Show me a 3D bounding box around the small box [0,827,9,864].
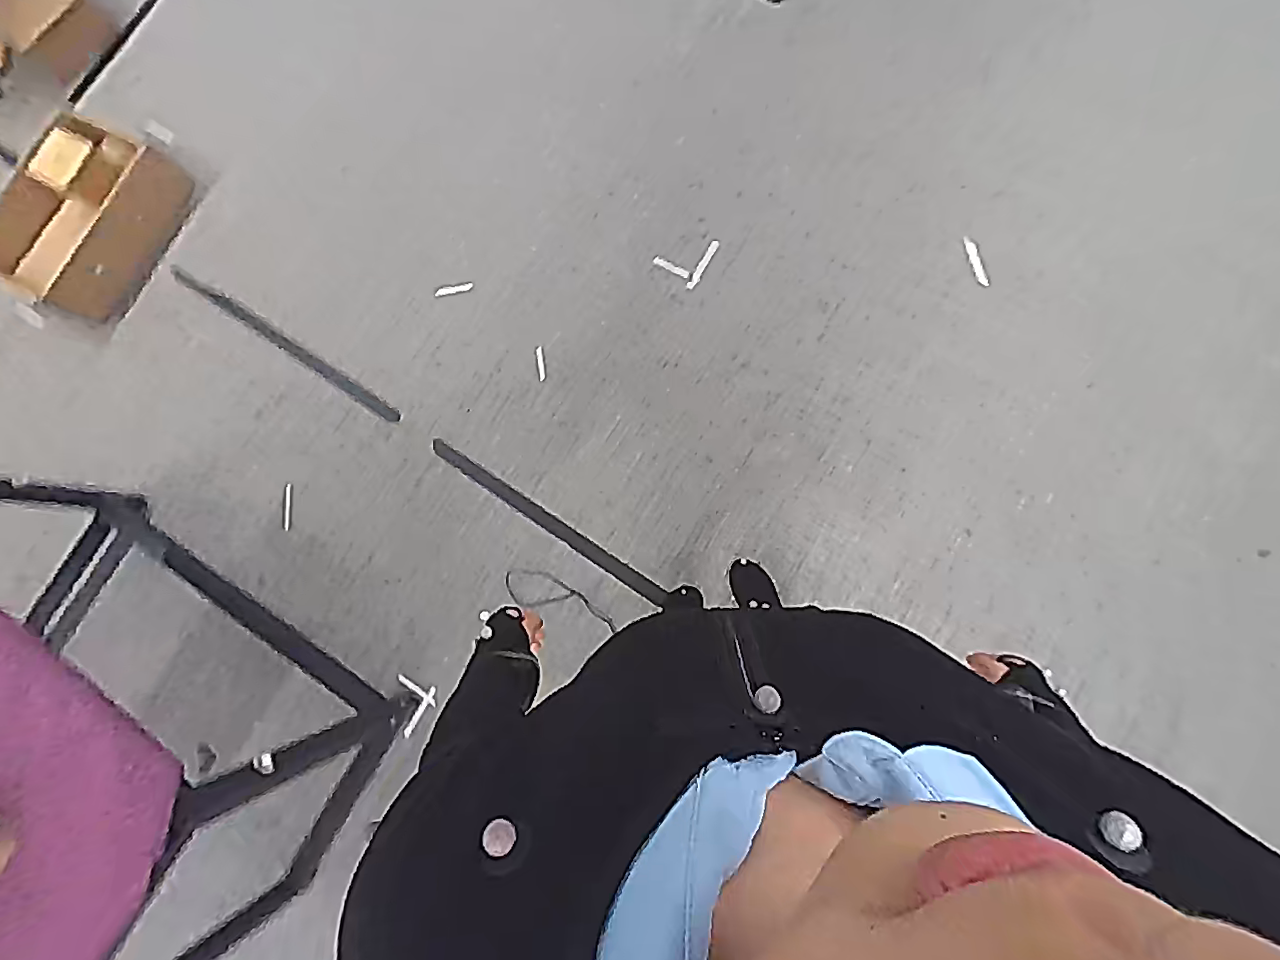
[{"bbox_3d":[-1.080,0.568,0.766,0.168,0.176,0.179,32,85,11],"label":"small box"}]

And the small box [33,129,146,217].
[{"bbox_3d":[-1.836,-1.022,1.812,0.179,0.176,0.168,27,85,10],"label":"small box"}]
